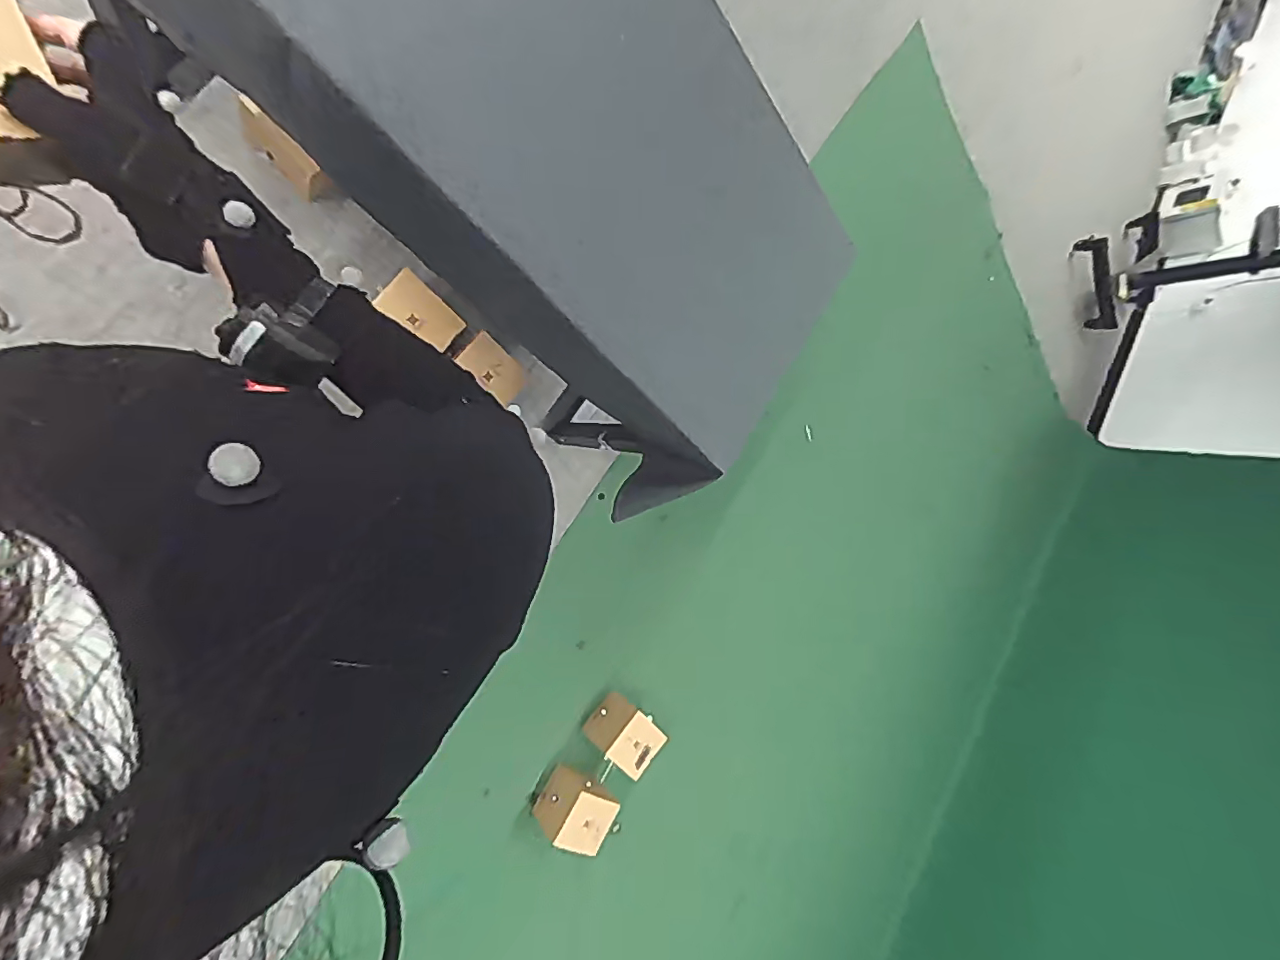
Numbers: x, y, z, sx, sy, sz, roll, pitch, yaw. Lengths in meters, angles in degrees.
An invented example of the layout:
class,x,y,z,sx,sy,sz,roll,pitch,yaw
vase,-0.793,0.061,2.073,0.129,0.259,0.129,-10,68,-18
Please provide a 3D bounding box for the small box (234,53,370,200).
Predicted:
class,x,y,z,sx,sy,sz,roll,pitch,yaw
small box,-0.710,-0.732,1.137,0.179,0.176,0.168,-51,119,-19

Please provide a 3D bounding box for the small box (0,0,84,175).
class,x,y,z,sx,sy,sz,roll,pitch,yaw
small box,-0.450,-0.265,0.285,0.168,0.176,0.179,-32,125,-39

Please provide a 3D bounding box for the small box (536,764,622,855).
class,x,y,z,sx,sy,sz,roll,pitch,yaw
small box,-0.197,1.029,1.700,0.179,0.176,0.168,39,75,-31

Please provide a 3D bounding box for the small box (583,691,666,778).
class,x,y,z,sx,sy,sz,roll,pitch,yaw
small box,-0.053,0.828,1.776,0.168,0.176,0.179,-48,118,-21
